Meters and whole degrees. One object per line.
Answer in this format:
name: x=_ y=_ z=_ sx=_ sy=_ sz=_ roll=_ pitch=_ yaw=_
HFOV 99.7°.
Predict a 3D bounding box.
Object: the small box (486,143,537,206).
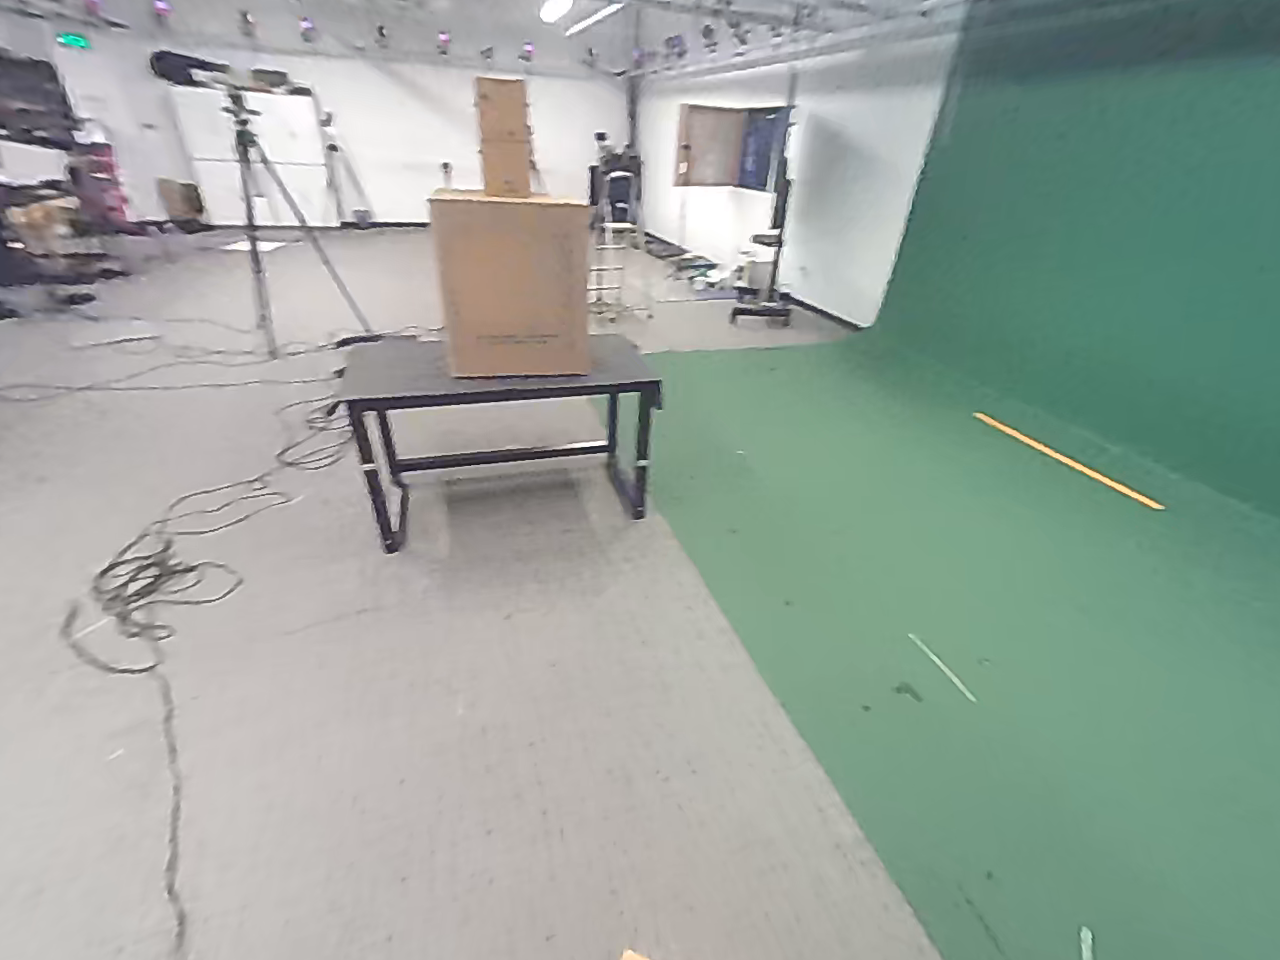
small box: x=-0.449 y=-1.073 z=1.897 sx=0.168 sy=0.176 sz=0.179 roll=-3 pitch=35 yaw=-12
